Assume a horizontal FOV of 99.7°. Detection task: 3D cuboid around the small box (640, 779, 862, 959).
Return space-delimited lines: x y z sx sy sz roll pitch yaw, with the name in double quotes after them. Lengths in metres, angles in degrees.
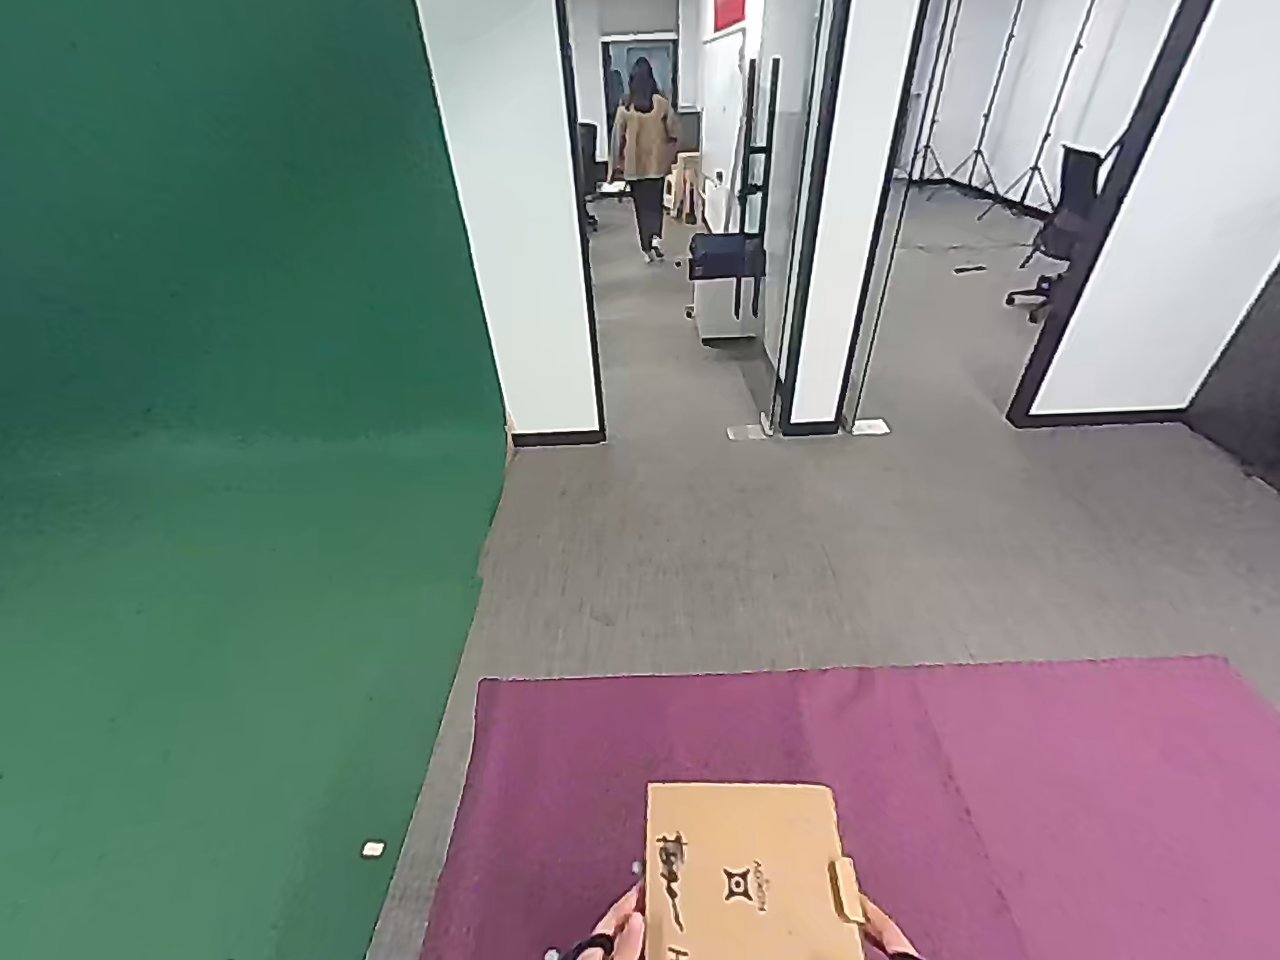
0.094 0.407 0.509 0.179 0.176 0.168 0 39 5 "small box"
